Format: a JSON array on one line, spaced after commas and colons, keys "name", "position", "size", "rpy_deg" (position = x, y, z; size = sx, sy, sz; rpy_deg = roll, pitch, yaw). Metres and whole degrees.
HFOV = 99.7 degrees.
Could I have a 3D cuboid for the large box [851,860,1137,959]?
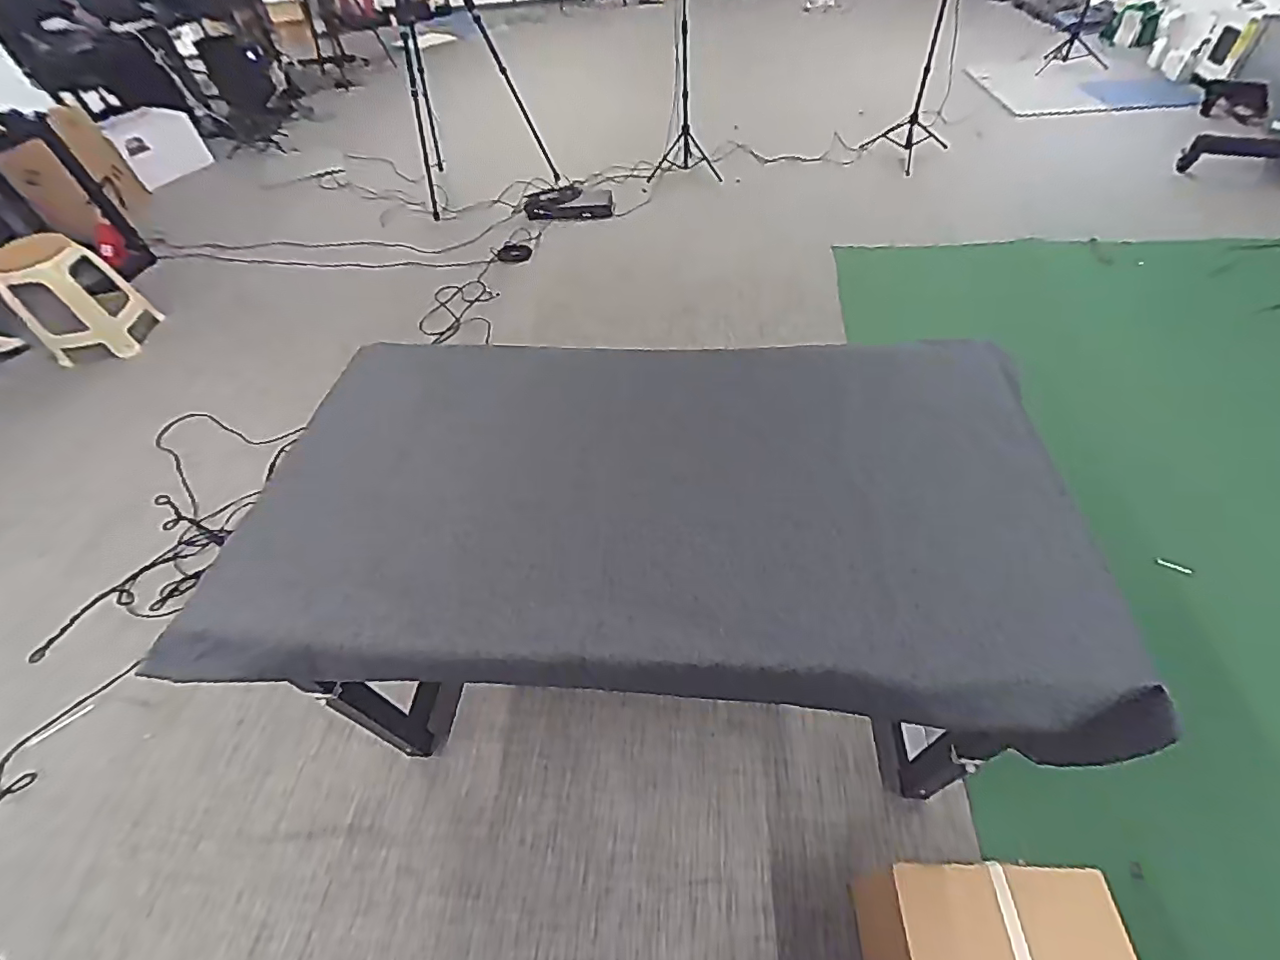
[{"name": "large box", "position": [0.553, 0.838, 0.827], "size": [0.320, 0.320, 0.408], "rpy_deg": [-2, 50, 5]}]
